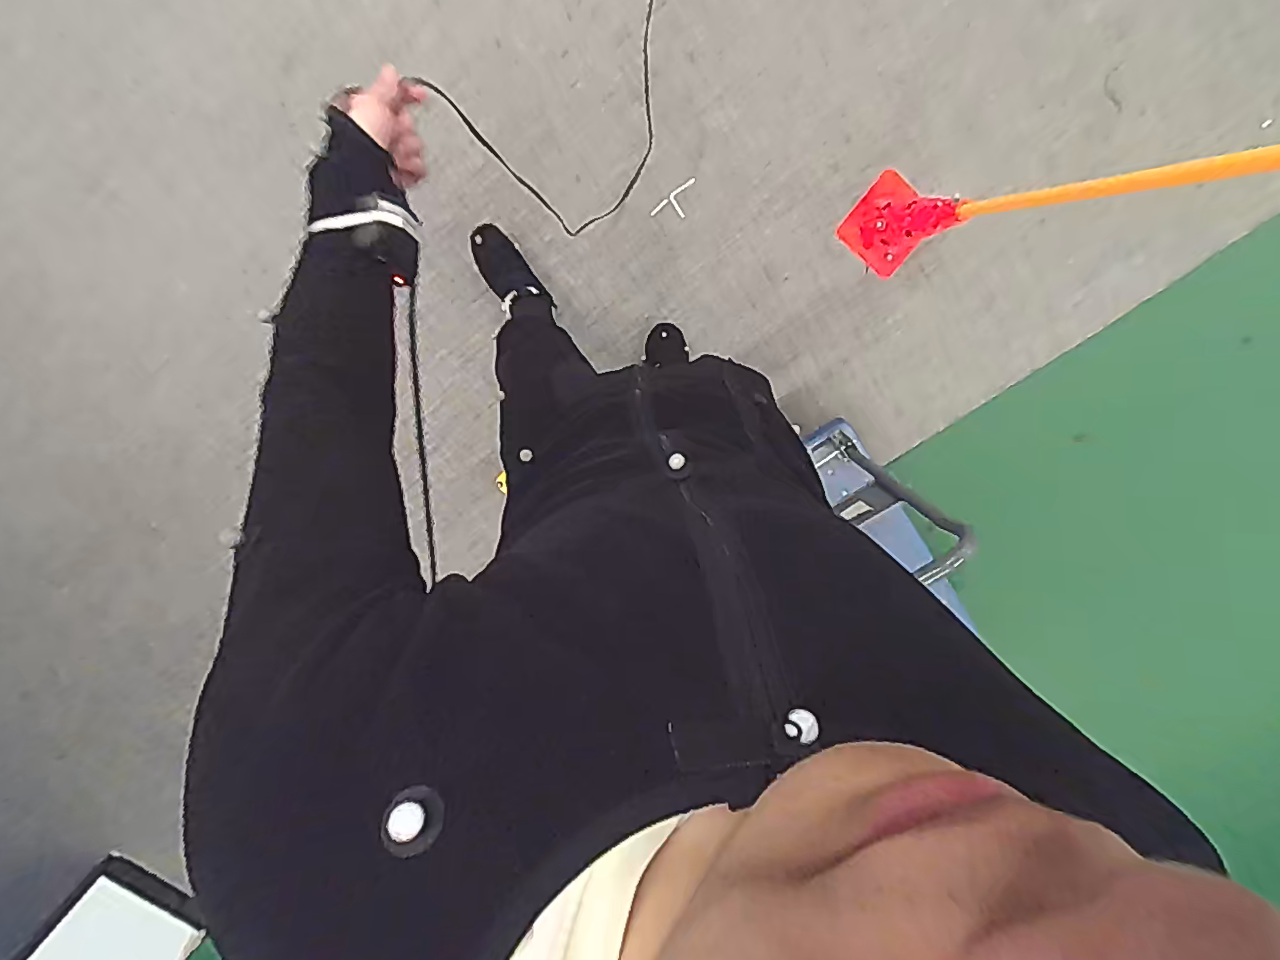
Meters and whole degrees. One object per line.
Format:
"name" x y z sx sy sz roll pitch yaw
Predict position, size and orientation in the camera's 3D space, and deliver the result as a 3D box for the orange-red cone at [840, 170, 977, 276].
"orange-red cone" 0.652 -0.606 1.246 0.198 0.360 0.199 37 104 -15
